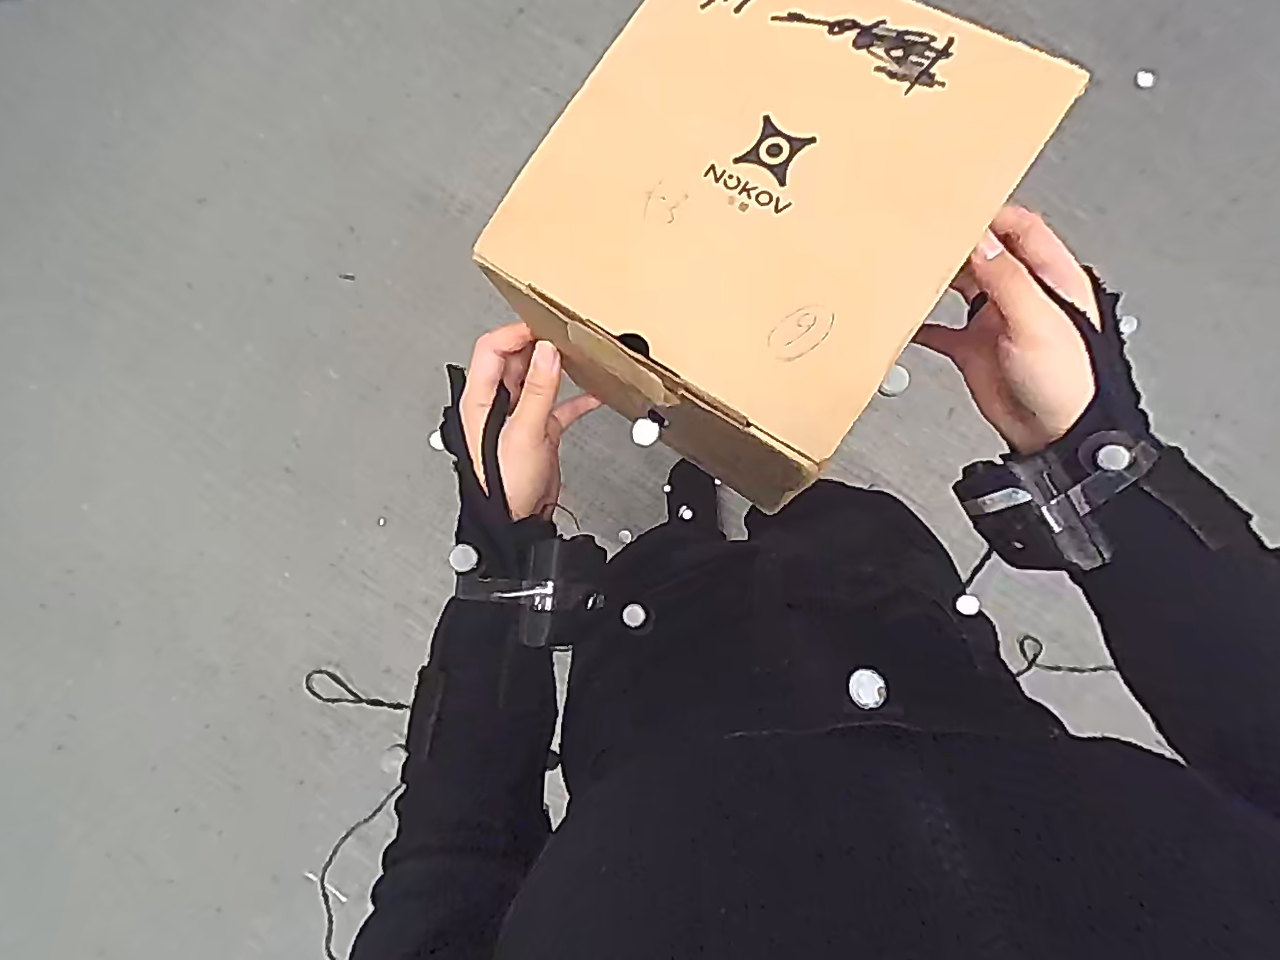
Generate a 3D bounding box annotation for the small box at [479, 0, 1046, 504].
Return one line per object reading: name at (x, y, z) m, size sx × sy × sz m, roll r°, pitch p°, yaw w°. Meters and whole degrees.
small box at (0.055, -0.101, 0.296) m, size 0.168 × 0.176 × 0.179 m, roll 34°, pitch 89°, yaw 12°
